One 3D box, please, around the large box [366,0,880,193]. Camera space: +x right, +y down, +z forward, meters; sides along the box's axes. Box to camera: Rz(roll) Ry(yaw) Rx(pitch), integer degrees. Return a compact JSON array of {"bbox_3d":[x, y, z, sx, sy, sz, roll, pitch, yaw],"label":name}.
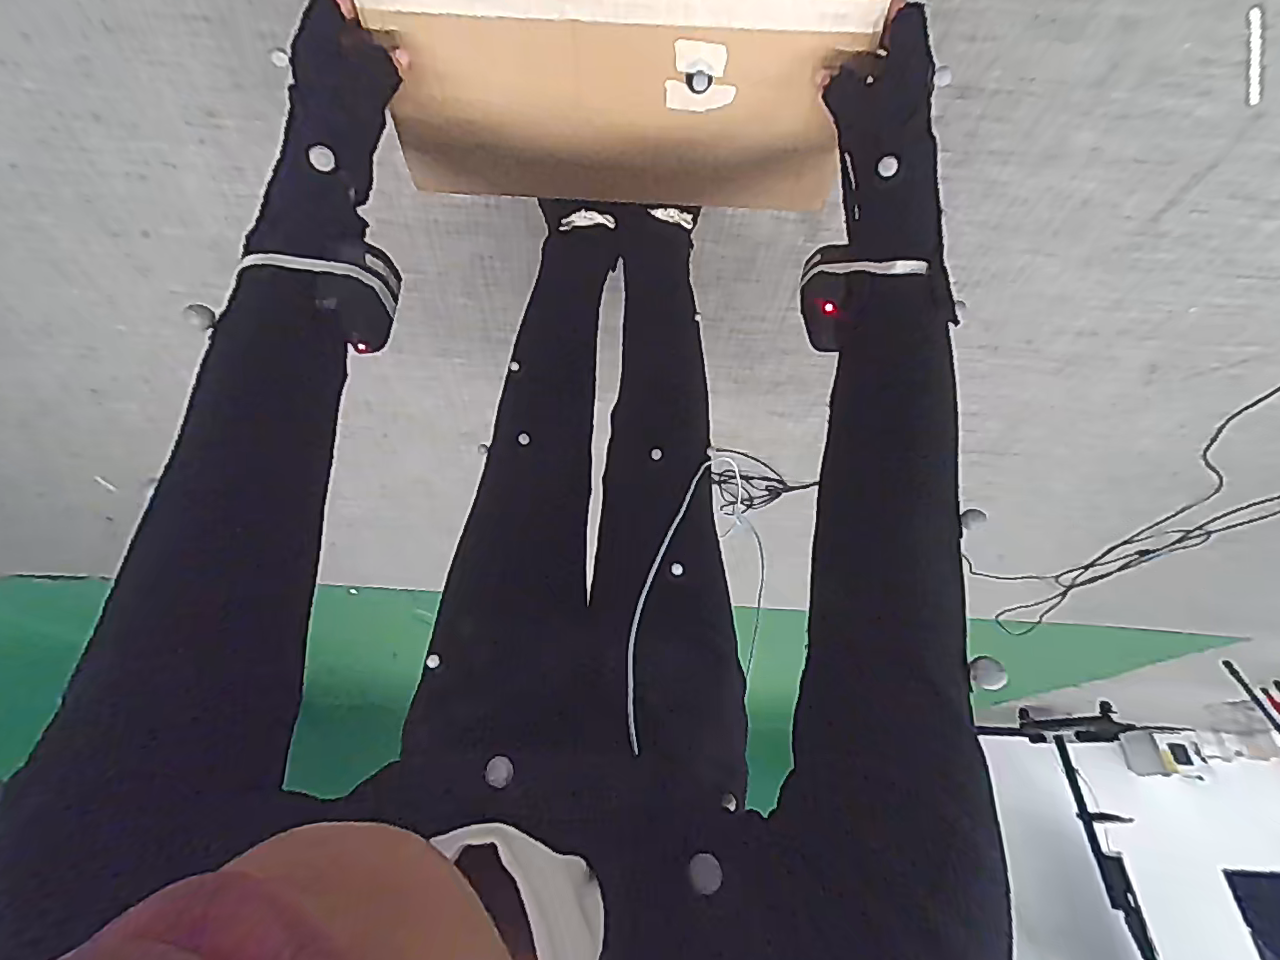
[{"bbox_3d":[-0.012,-0.497,0.489,0.408,0.320,0.320,2,148,-1],"label":"large box"}]
